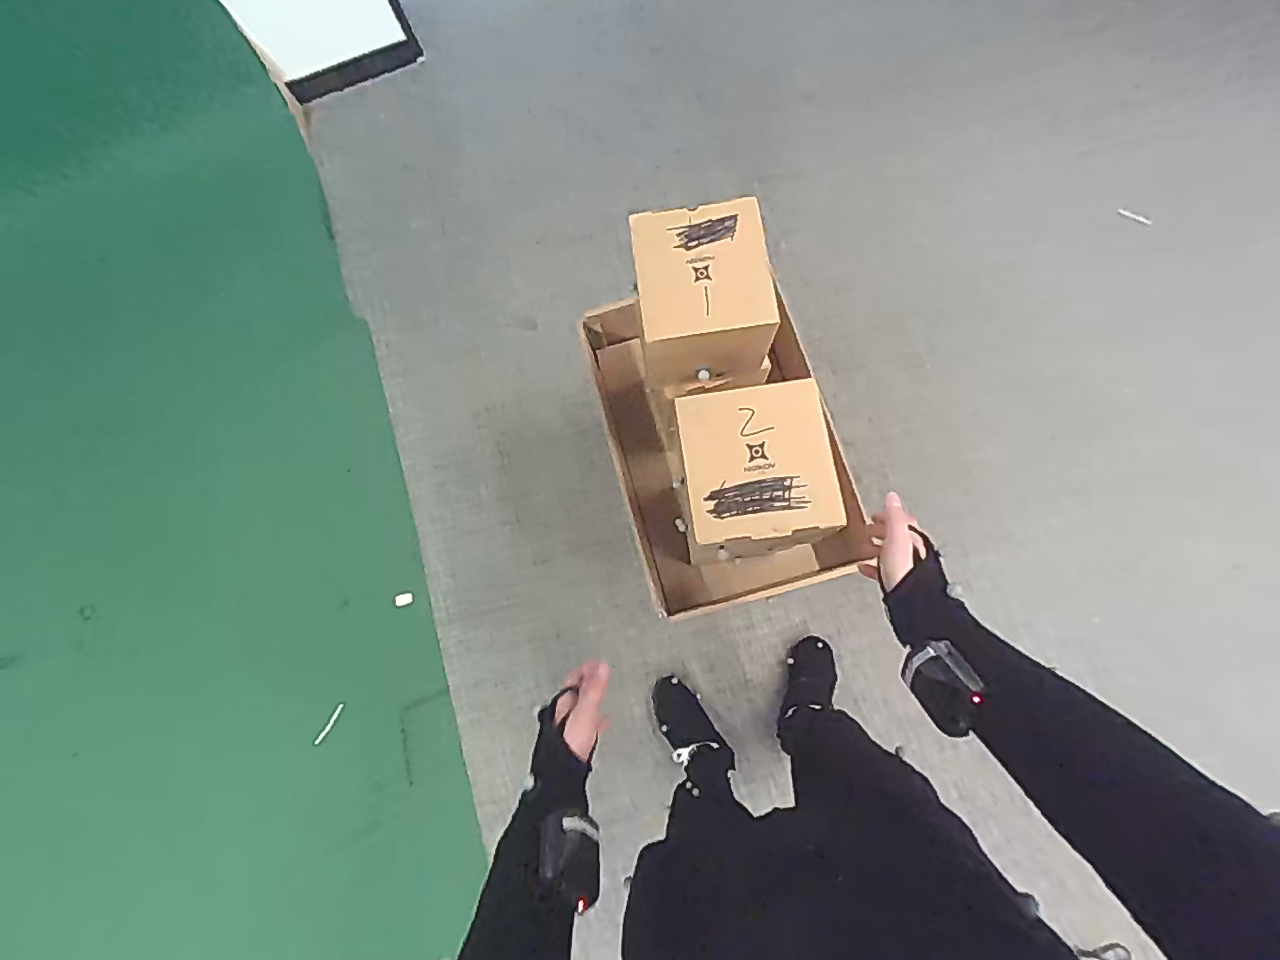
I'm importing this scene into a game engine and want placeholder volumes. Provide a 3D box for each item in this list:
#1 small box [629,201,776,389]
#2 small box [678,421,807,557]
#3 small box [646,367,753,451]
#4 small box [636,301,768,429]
[{"bbox_3d":[0.079,-0.244,0.748,0.168,0.176,0.179,-8,79,3],"label":"small box"},{"bbox_3d":[0.151,0.025,0.845,0.168,0.176,0.179,-6,75,3],"label":"small box"},{"bbox_3d":[0.110,-0.177,1.066,0.168,0.176,0.179,-17,78,2],"label":"small box"},{"bbox_3d":[0.097,-0.208,0.908,0.168,0.176,0.179,-17,78,0],"label":"small box"}]
